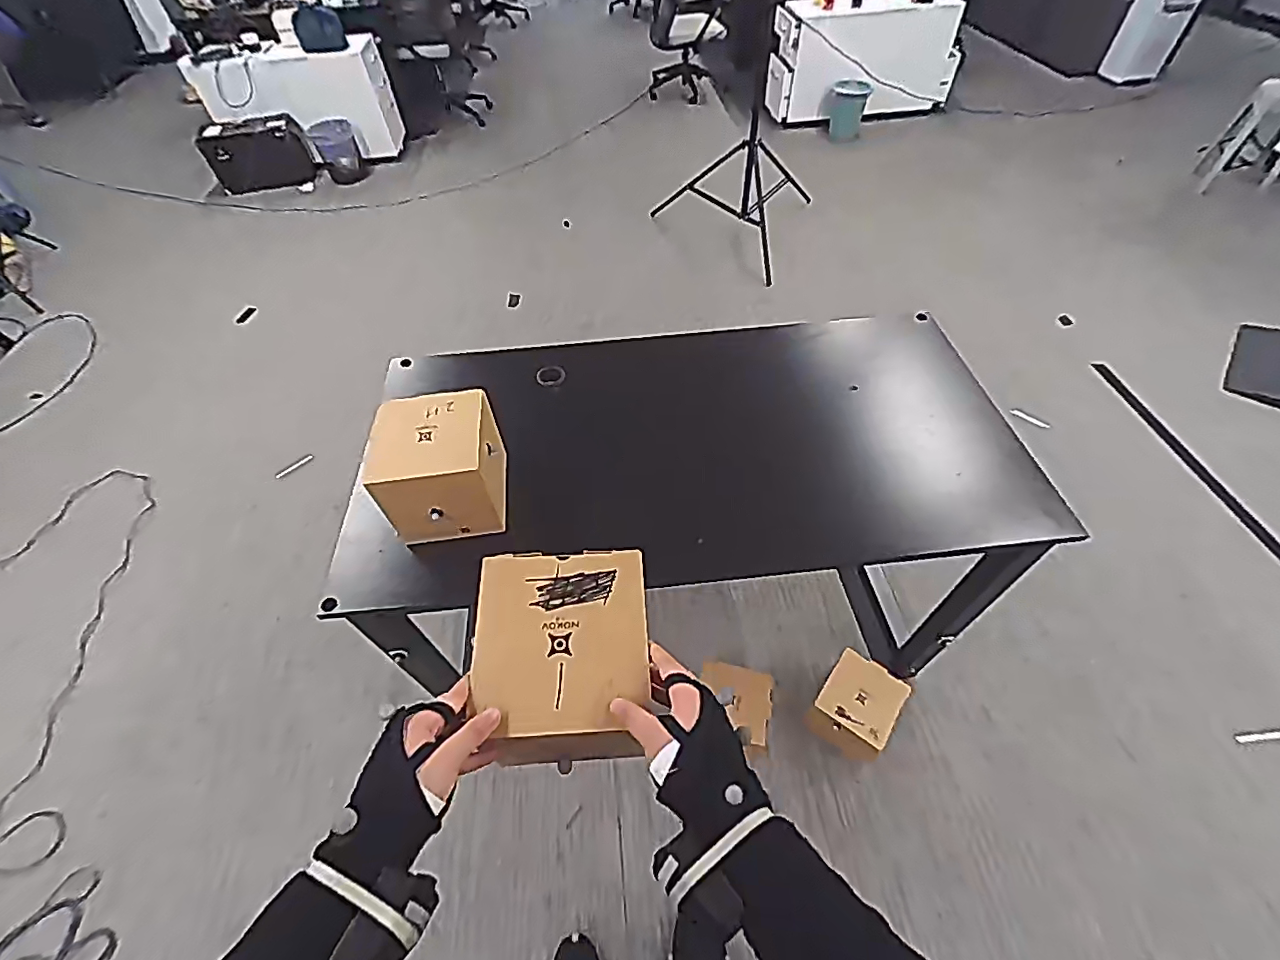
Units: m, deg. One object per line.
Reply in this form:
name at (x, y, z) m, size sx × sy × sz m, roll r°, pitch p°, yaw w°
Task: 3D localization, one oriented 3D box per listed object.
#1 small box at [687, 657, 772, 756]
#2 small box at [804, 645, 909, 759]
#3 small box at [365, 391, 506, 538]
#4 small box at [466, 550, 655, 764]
small box at (0.219, 0.562, 1.333) m, size 0.179 × 0.176 × 0.168 m, roll 10°, pitch 53°, yaw 12°
small box at (0.522, 0.547, 1.325) m, size 0.168 × 0.176 × 0.179 m, roll 30°, pitch 60°, yaw 24°
small box at (-0.320, -0.018, 0.885) m, size 0.168 × 0.176 × 0.179 m, roll -8°, pitch 52°, yaw -4°
small box at (-0.075, 0.192, 0.580) m, size 0.168 × 0.176 × 0.179 m, roll -3°, pitch 56°, yaw -3°
